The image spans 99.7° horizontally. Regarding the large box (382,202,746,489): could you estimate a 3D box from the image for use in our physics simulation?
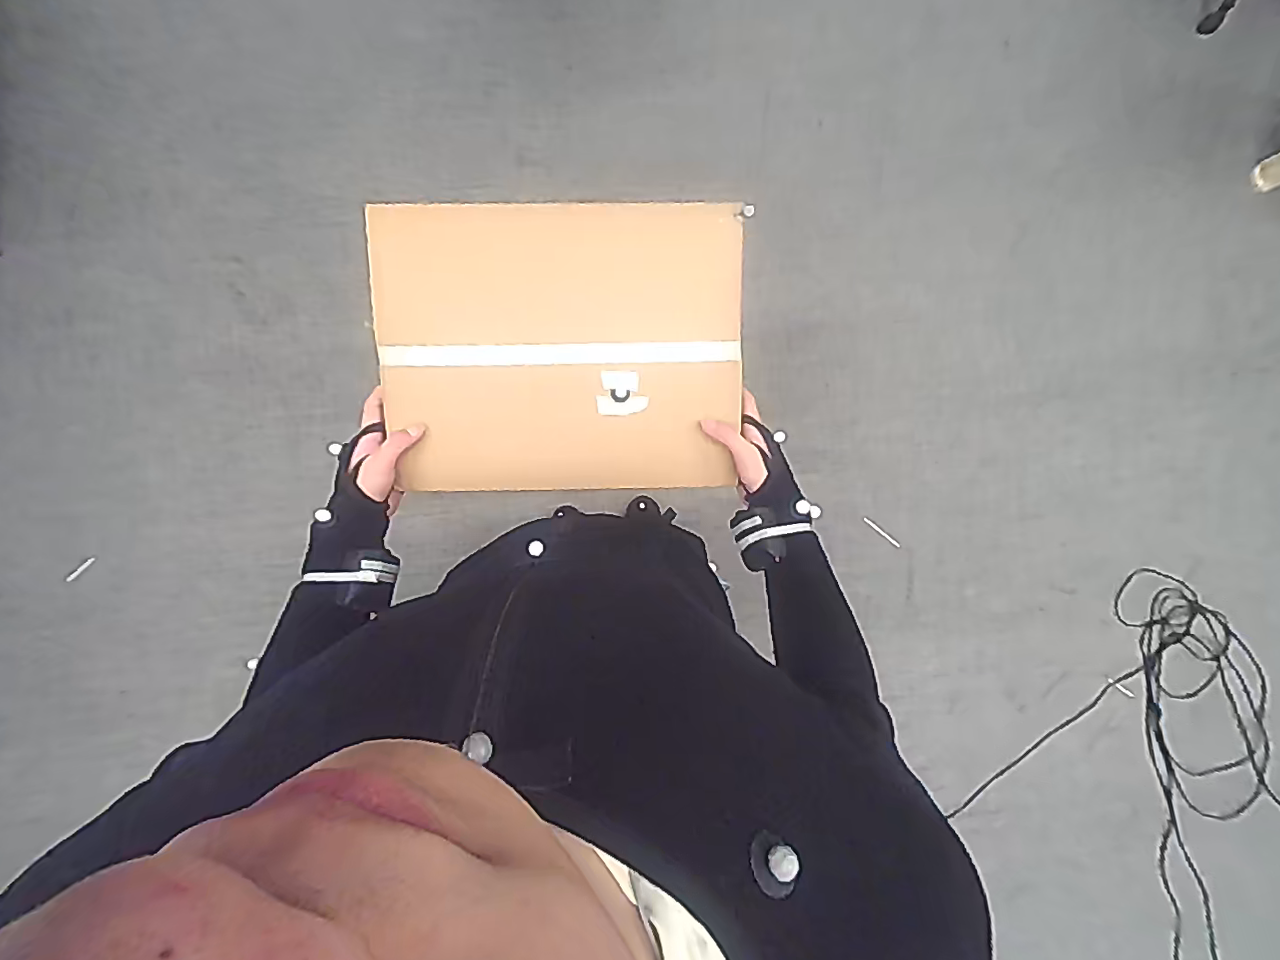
[{"bbox_3d":[-0.084,-0.174,0.762,0.408,0.320,0.320,-2,101,-2],"label":"large box"}]
